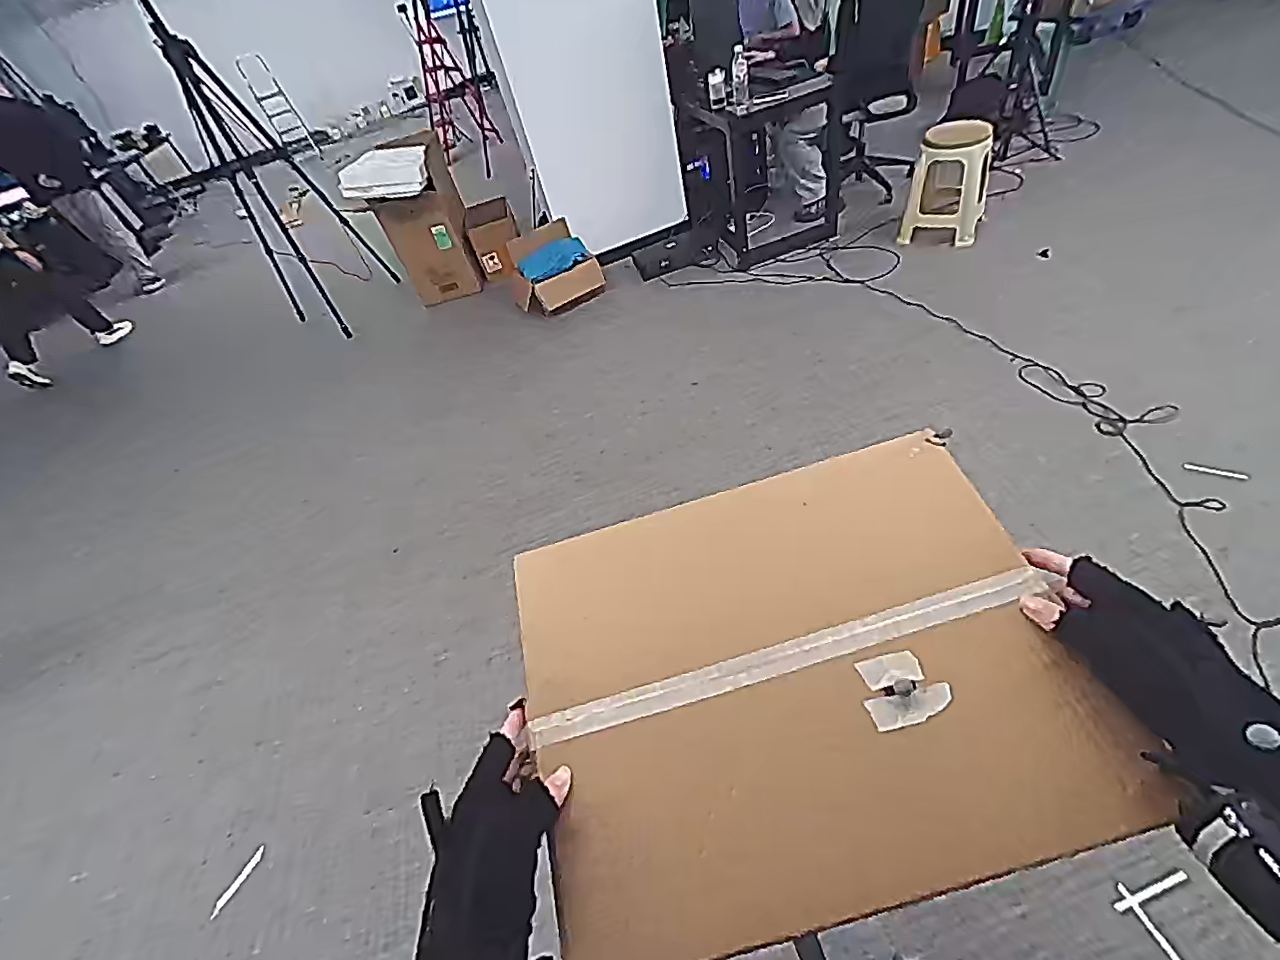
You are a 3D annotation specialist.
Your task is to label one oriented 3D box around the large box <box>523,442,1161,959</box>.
[{"bbox_3d":[0.138,0.223,0.553,0.408,0.320,0.320,-17,56,1],"label":"large box"}]
